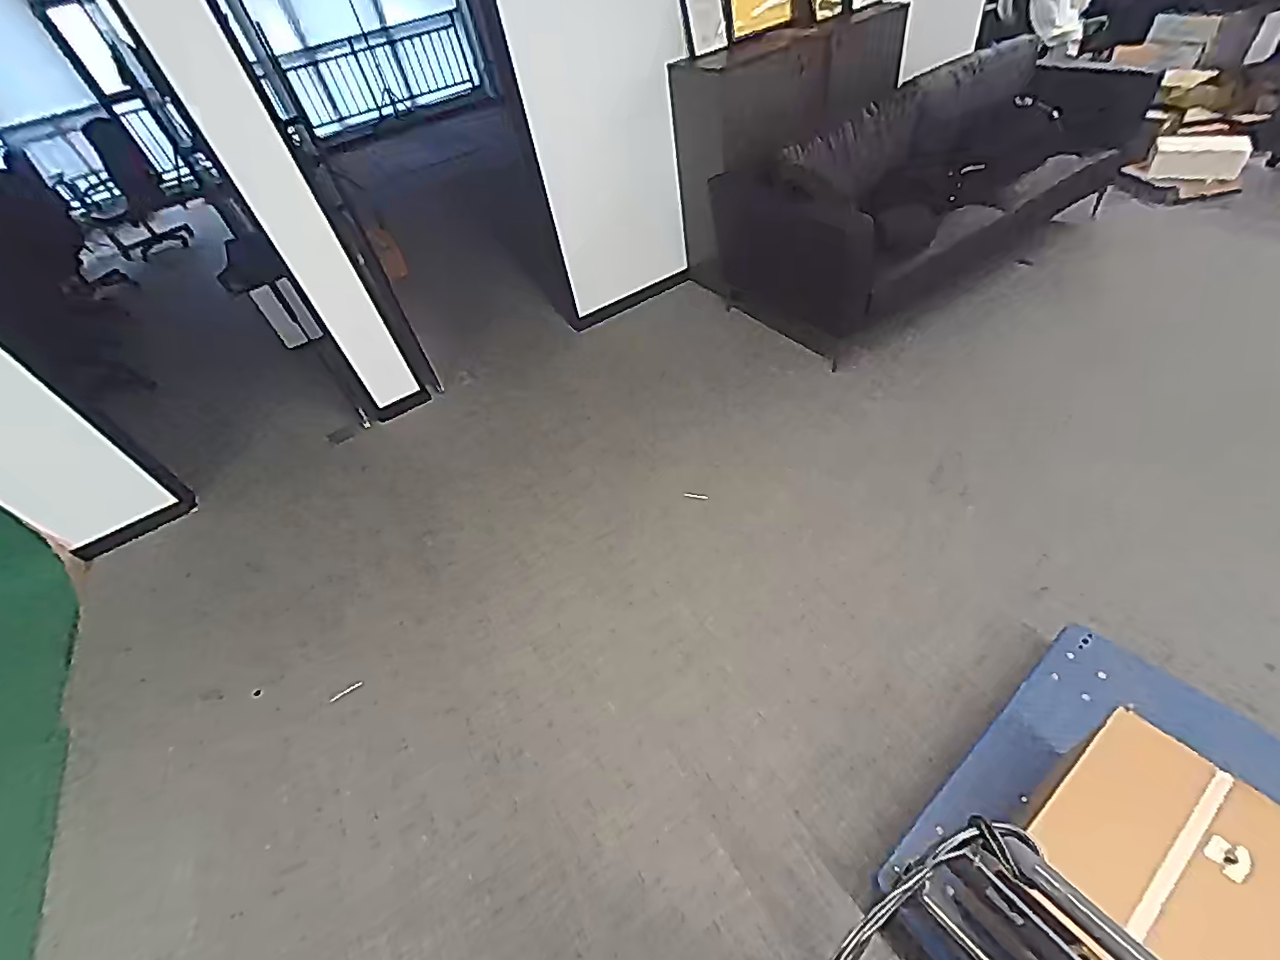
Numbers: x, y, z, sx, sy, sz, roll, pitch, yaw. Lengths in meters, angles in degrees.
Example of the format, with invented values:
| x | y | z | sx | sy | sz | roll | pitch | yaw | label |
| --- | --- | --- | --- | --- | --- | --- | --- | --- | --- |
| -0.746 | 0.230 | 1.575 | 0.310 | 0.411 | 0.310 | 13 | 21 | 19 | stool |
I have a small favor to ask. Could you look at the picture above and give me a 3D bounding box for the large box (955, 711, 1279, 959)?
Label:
| x | y | z | sx | sy | sz | roll | pitch | yaw | label |
| --- | --- | --- | --- | --- | --- | --- | --- | --- | --- |
| 0.848 | 0.719 | 0.964 | 0.408 | 0.320 | 0.320 | -33 | 48 | -21 | large box |
